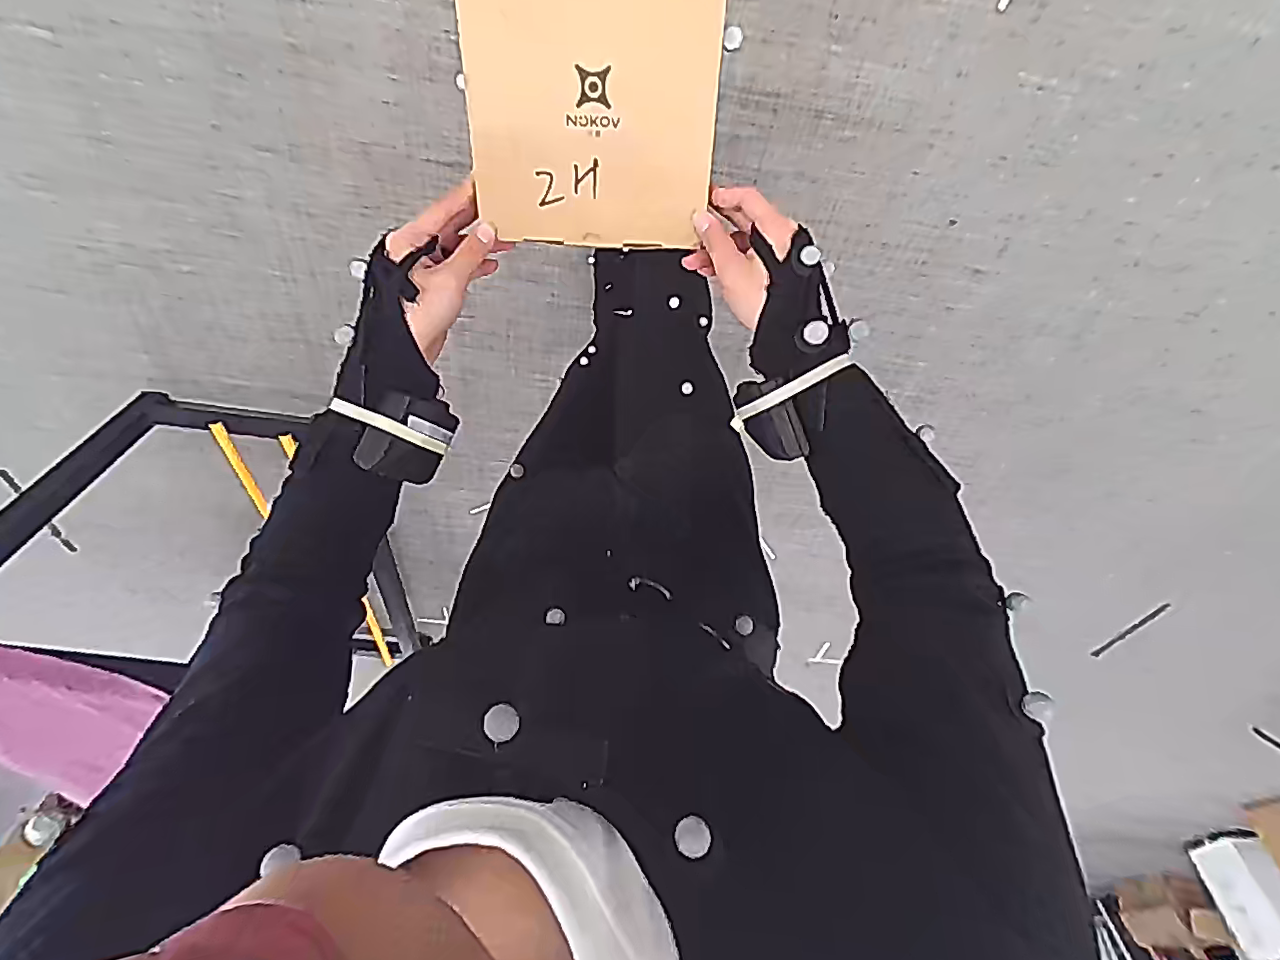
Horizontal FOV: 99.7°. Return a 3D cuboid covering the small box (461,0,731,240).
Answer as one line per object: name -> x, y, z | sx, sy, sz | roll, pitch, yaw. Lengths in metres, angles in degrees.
small box -> -0.030, -0.294, 0.416 | 0.168, 0.176, 0.179 | 2, 122, -2
